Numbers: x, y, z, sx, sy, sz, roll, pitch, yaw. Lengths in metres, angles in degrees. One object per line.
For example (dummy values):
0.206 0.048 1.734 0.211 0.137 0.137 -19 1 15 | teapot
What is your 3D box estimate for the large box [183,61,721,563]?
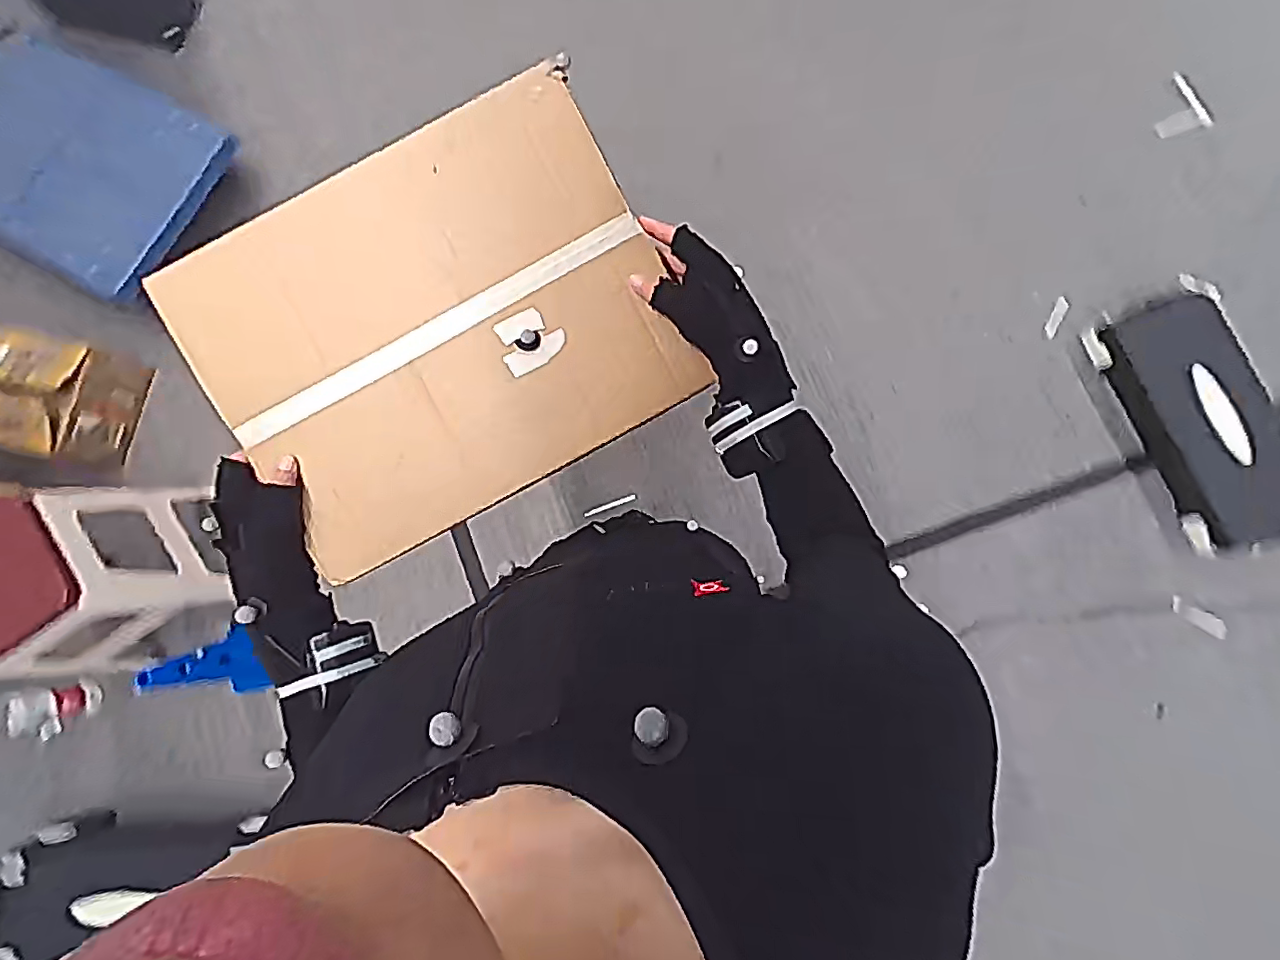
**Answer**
-0.173 -0.156 0.639 0.408 0.320 0.320 -28 96 0 | large box
